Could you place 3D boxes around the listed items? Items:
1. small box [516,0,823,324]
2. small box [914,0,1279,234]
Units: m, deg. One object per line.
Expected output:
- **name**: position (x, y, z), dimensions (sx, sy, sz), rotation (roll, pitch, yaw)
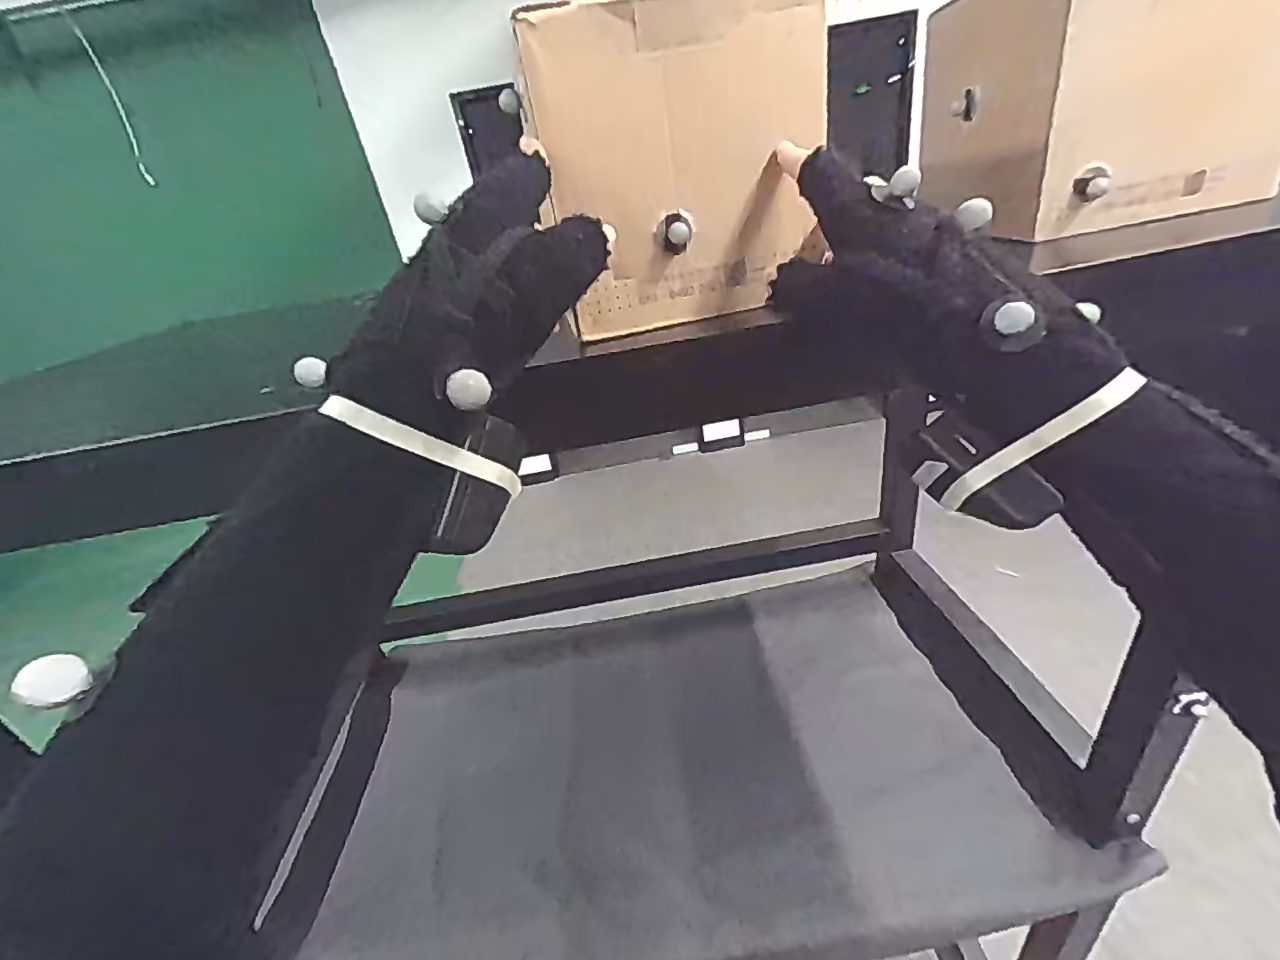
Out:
- **small box**: position (0.014, -0.218, 0.389), dimensions (0.168, 0.176, 0.179), rotation (-13, 28, -5)
- **small box**: position (0.335, -0.294, 0.417), dimensions (0.168, 0.176, 0.179), rotation (-9, 27, 3)
